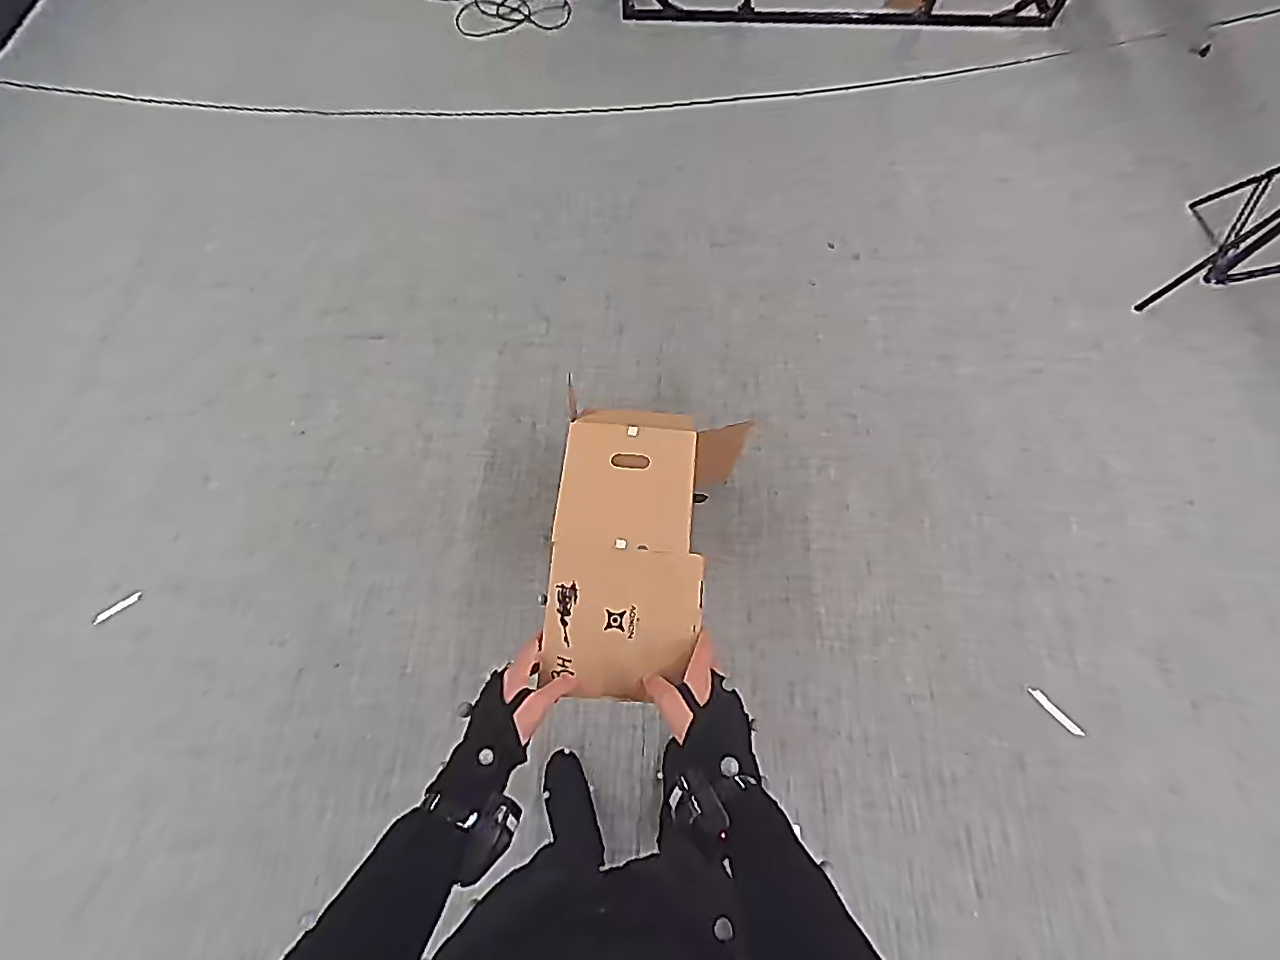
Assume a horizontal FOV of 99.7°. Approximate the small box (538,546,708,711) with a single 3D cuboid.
[{"bbox_3d":[-0.019,0.179,0.672,0.179,0.176,0.168,5,76,-1],"label":"small box"}]
